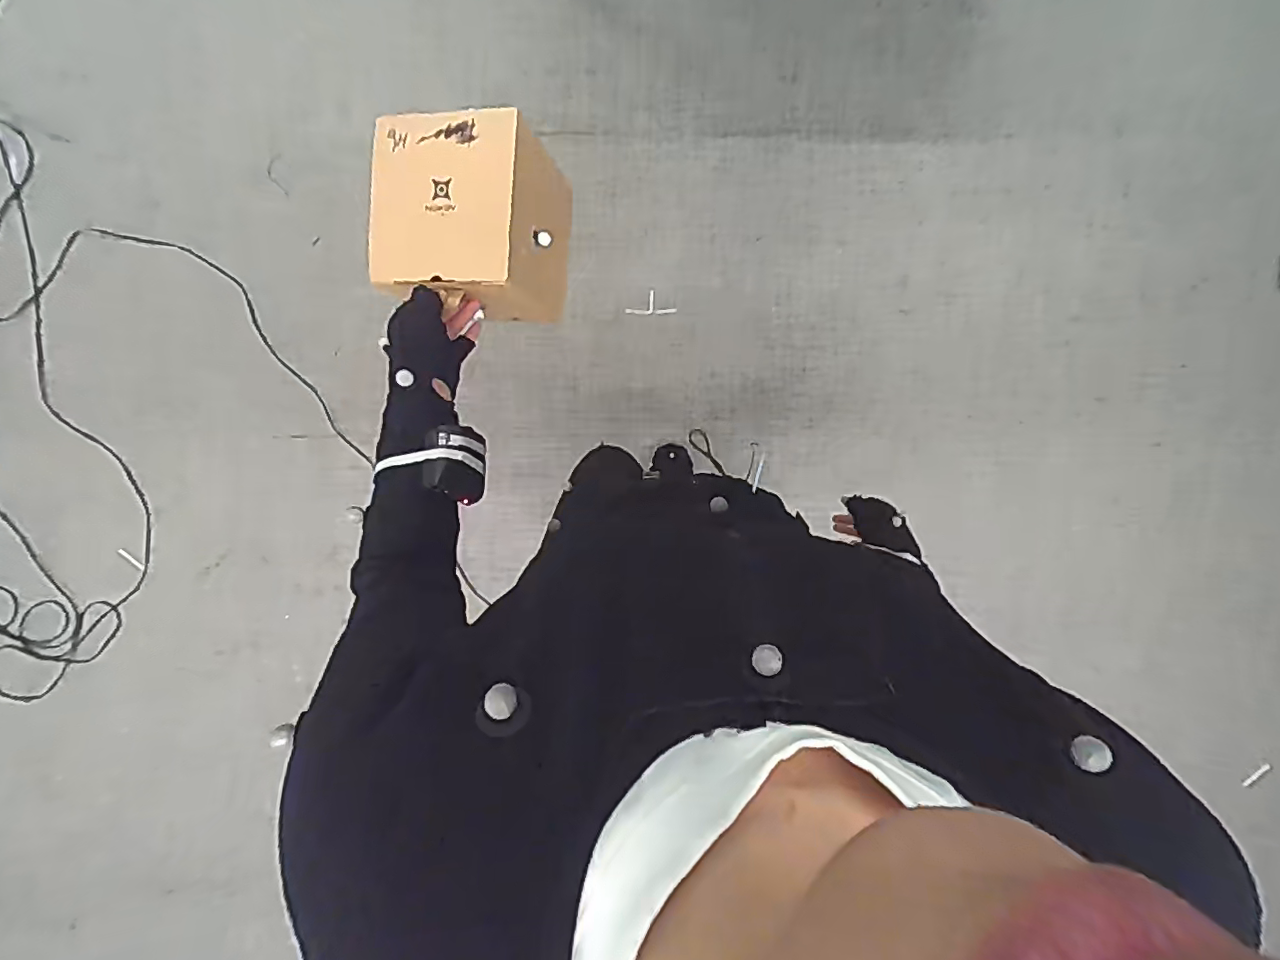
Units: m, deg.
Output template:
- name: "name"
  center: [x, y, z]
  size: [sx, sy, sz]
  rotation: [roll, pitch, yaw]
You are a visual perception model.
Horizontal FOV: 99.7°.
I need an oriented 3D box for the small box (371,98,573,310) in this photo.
- name: "small box"
  center: [-0.185, -0.305, 0.634]
  size: [0.168, 0.176, 0.179]
  rotation: [6, 95, 12]
